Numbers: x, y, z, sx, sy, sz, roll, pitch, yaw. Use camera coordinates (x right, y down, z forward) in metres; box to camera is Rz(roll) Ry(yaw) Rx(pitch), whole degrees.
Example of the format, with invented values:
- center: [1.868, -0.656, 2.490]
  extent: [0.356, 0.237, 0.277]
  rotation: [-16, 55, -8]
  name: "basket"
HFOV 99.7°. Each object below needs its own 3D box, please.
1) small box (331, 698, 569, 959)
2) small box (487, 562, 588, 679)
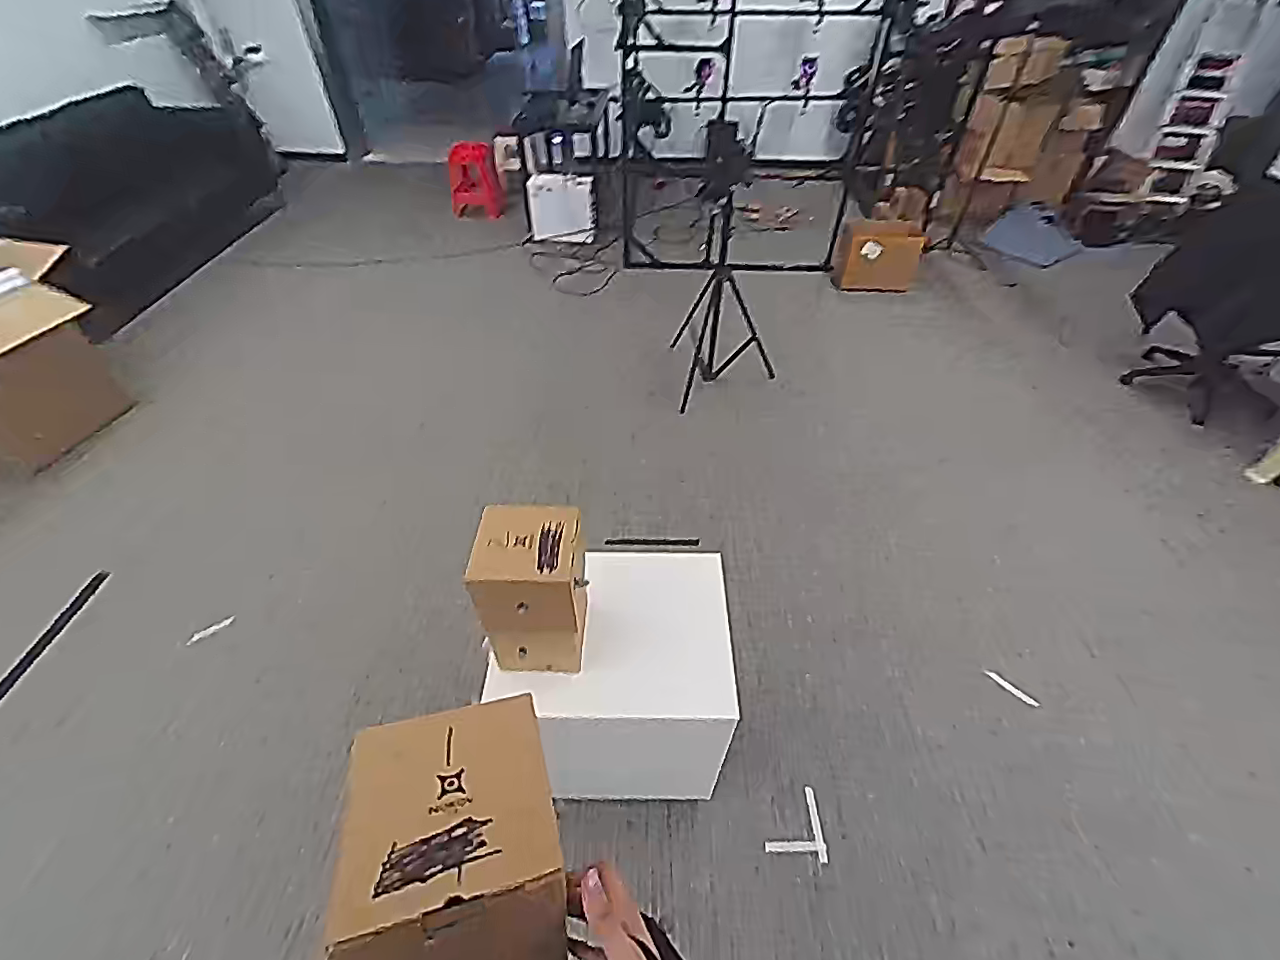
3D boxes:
- center: [-0.159, 0.340, 0.493]
  extent: [0.168, 0.176, 0.179]
  rotation: [-5, 29, -17]
  name: "small box"
- center: [-0.198, 0.288, 1.099]
  extent: [0.168, 0.176, 0.179]
  rotation: [1, 44, 0]
  name: "small box"
